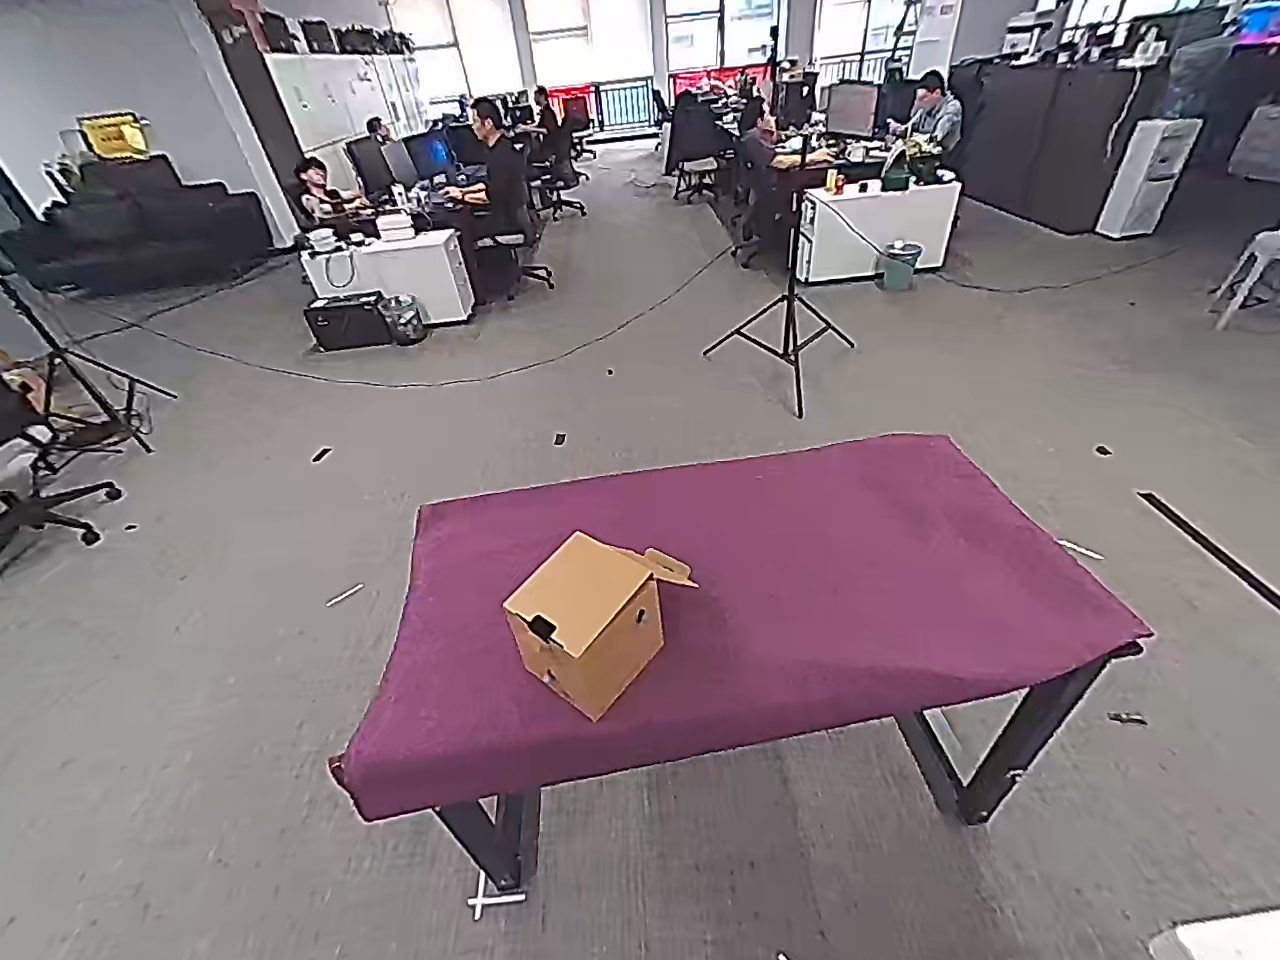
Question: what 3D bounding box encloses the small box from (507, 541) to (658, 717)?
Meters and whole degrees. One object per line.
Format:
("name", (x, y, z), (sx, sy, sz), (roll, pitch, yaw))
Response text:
("small box", (-0.083, 0.236, 0.875), (0.168, 0.176, 0.179), (22, 46, 34))
